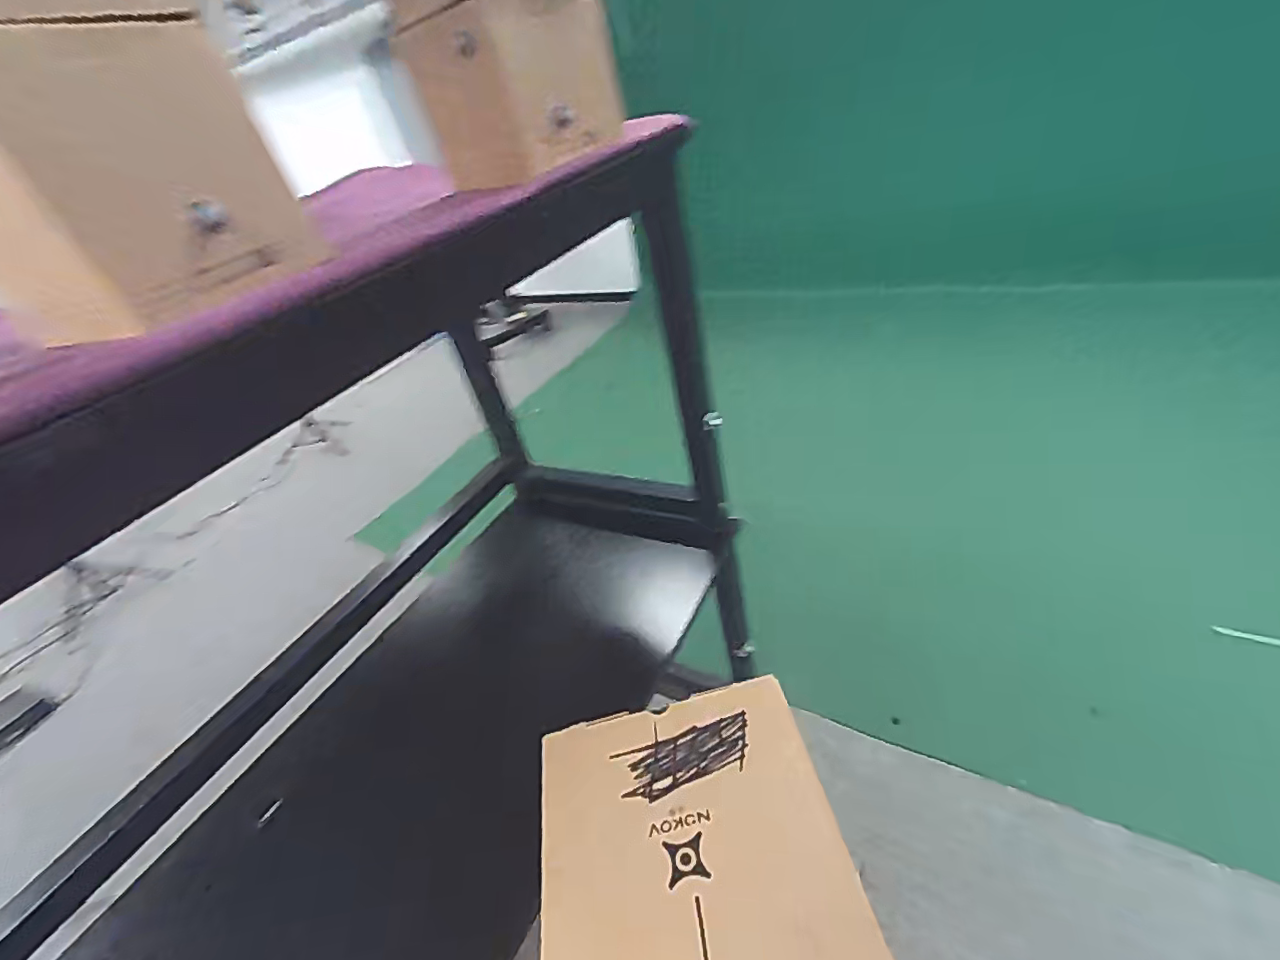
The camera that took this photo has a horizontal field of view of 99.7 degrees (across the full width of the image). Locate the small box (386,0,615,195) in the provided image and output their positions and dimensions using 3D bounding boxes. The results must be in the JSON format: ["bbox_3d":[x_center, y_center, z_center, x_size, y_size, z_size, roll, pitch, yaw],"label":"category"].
[{"bbox_3d":[-0.156,-0.453,0.645,0.179,0.176,0.168,19,49,36],"label":"small box"}]

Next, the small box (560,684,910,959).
[{"bbox_3d":[0.052,0.267,0.339,0.168,0.176,0.179,-15,34,1],"label":"small box"}]

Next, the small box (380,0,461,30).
[{"bbox_3d":[-0.183,-0.577,0.543,0.179,0.176,0.168,23,52,37],"label":"small box"}]
